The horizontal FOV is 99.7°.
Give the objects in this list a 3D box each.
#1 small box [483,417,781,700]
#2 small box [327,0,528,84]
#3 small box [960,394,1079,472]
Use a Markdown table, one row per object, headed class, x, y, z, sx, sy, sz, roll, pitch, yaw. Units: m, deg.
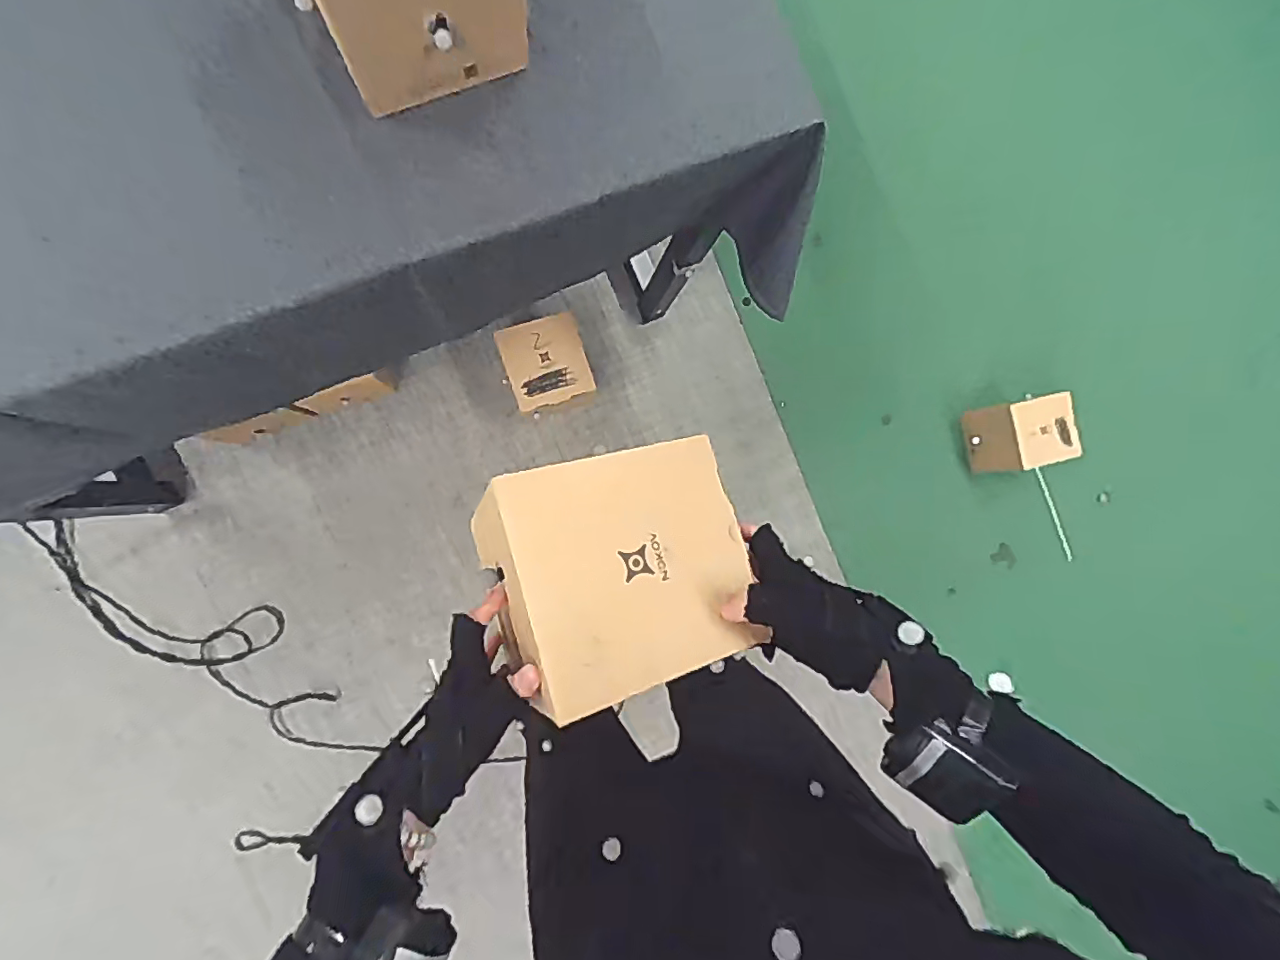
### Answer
| class | x | y | z | sx | sy | sz | roll | pitch | yaw |
| --- | --- | --- | --- | --- | --- | --- | --- | --- | --- |
| small box | -0.023 | 0.065 | 0.448 | 0.179 | 0.176 | 0.168 | -13 | 80 | -27 |
| small box | -0.200 | -0.473 | 0.446 | 0.168 | 0.176 | 0.179 | -26 | 94 | -10 |
| small box | 0.978 | -0.117 | 1.405 | 0.179 | 0.176 | 0.168 | -12 | 91 | -10 |
